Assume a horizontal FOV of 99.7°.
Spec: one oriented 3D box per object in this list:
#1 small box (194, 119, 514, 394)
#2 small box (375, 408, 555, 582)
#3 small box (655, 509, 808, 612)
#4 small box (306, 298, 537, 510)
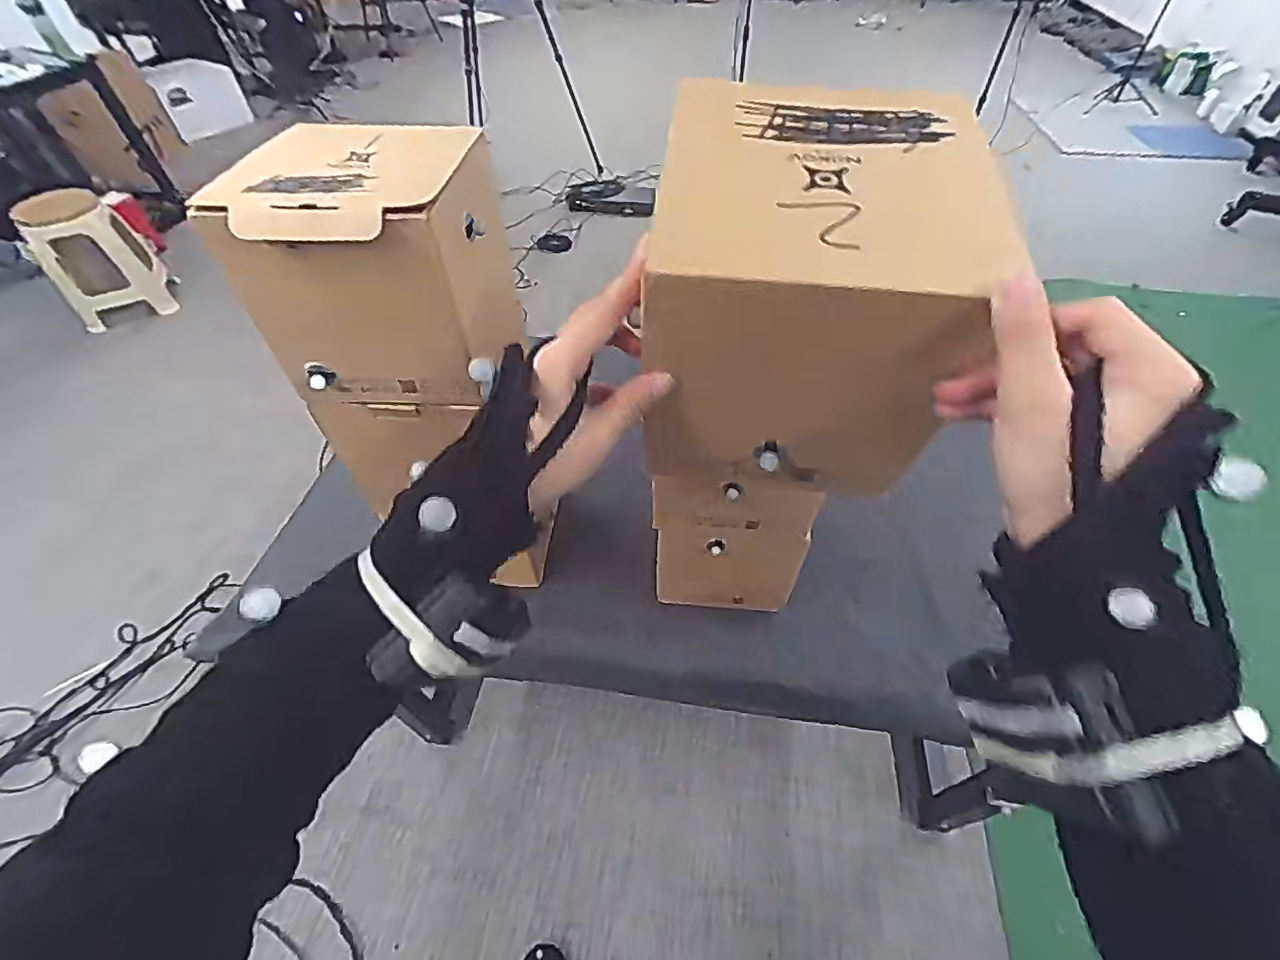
[{"bbox_3d":[-0.214,-0.191,0.471,0.168,0.176,0.179,2,49,0],"label":"small box"},{"bbox_3d":[-0.214,0.020,0.721,0.168,0.176,0.179,3,49,3],"label":"small box"},{"bbox_3d":[0.109,0.046,0.699,0.168,0.176,0.179,4,49,4],"label":"small box"},{"bbox_3d":[-0.215,-0.083,0.596,0.168,0.176,0.179,3,48,1],"label":"small box"}]
